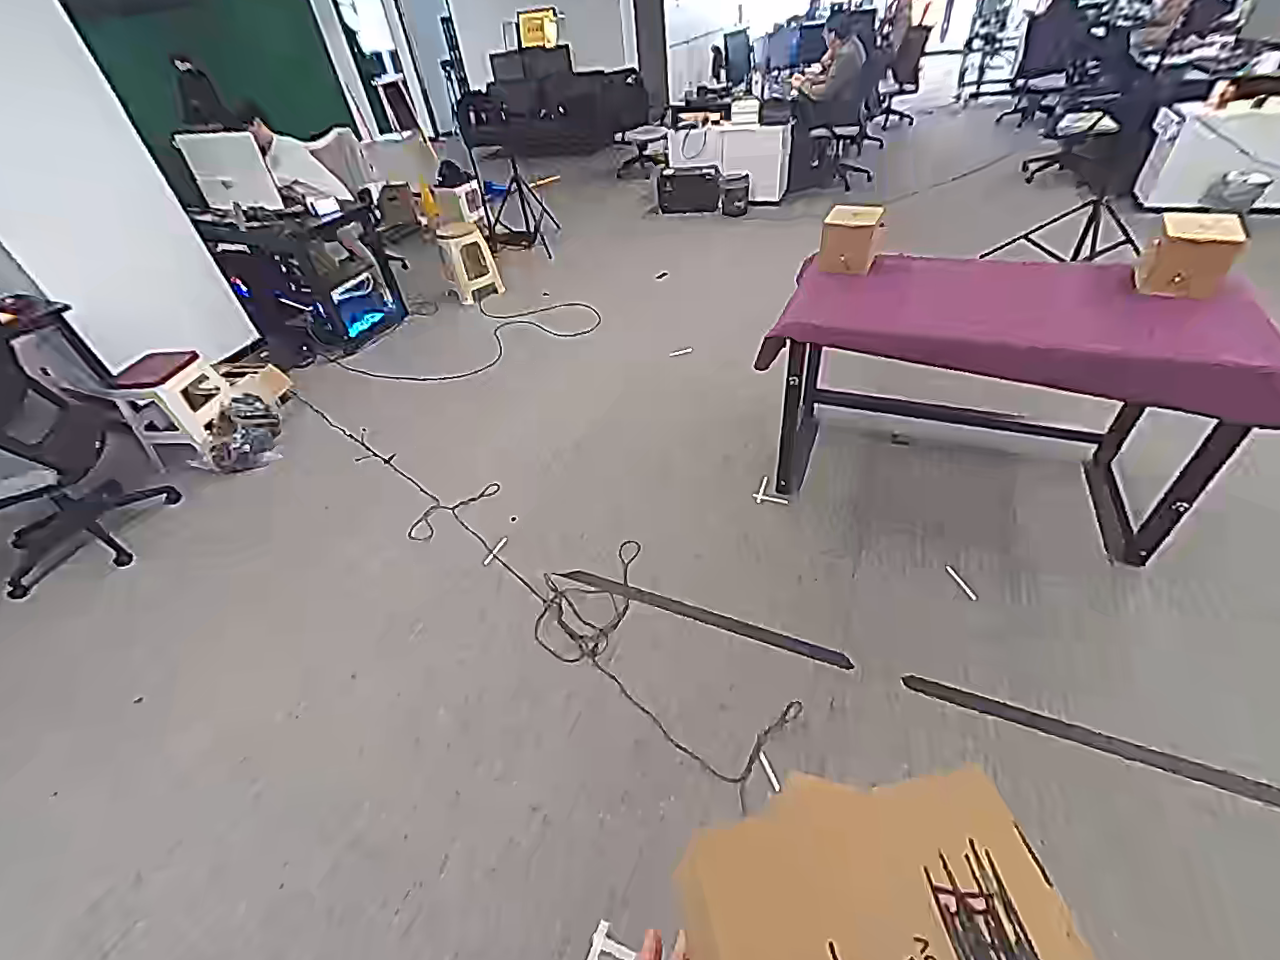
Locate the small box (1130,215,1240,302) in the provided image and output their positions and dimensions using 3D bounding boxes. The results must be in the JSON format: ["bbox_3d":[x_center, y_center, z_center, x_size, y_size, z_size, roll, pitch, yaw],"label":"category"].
[{"bbox_3d":[1.559,-0.641,1.561,0.168,0.176,0.179,16,51,24],"label":"small box"}]

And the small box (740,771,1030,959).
[{"bbox_3d":[0.191,0.378,0.454,0.179,0.176,0.168,12,46,9],"label":"small box"}]

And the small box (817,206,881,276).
[{"bbox_3d":[0.729,-0.839,1.896,0.168,0.176,0.179,16,49,24],"label":"small box"}]
